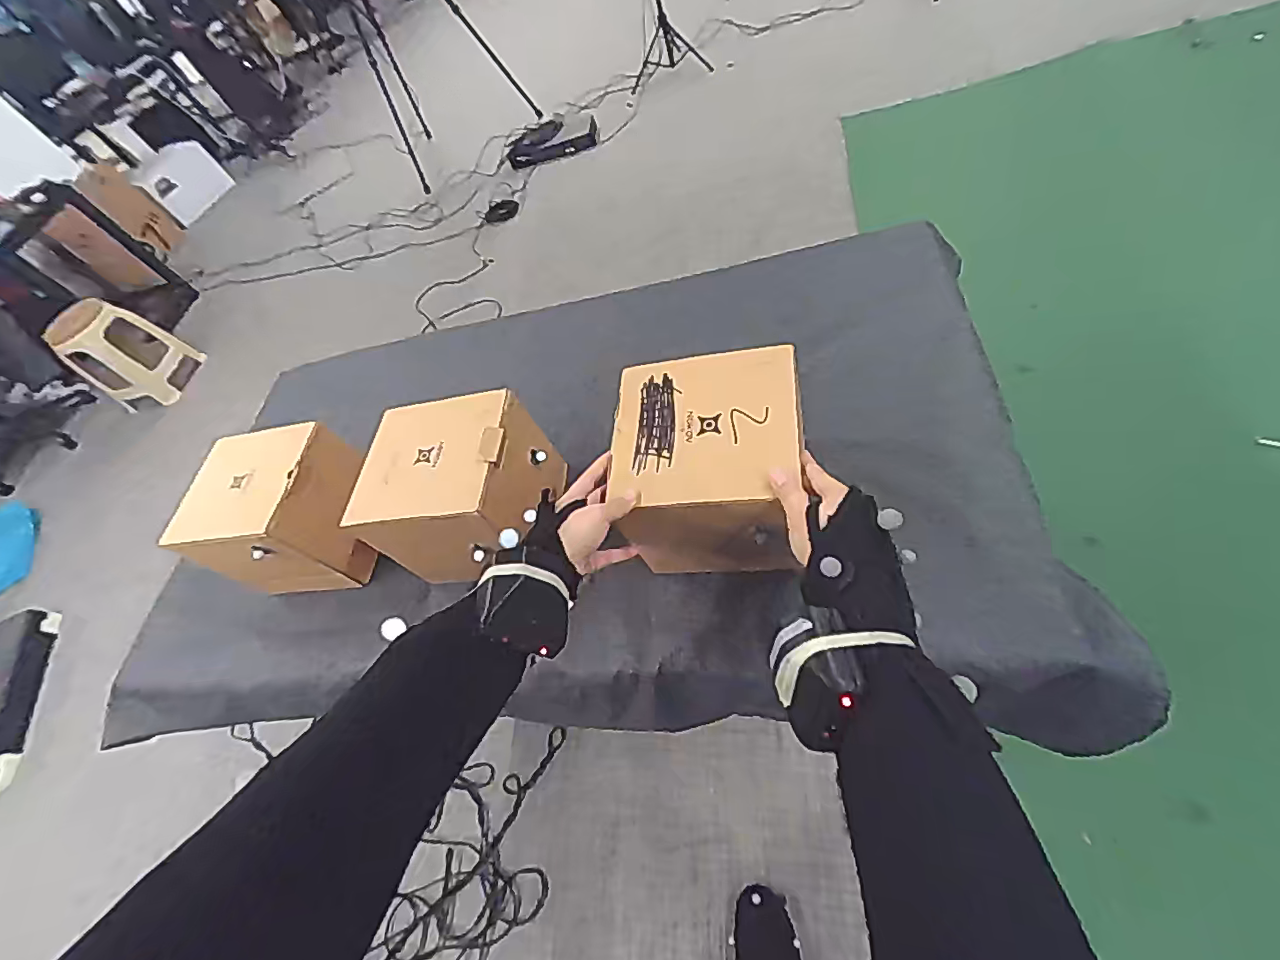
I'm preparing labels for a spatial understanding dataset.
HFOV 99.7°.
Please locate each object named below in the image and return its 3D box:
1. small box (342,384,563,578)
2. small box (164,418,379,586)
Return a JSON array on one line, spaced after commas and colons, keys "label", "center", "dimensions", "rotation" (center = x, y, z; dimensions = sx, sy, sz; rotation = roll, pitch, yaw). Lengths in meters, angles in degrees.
[{"label": "small box", "center": [-0.211, 0.011, 0.666], "dimensions": [0.179, 0.176, 0.168], "rotation": [-8, 55, 18]}, {"label": "small box", "center": [-0.478, 0.039, 0.749], "dimensions": [0.179, 0.176, 0.168], "rotation": [-7, 56, 16]}]
